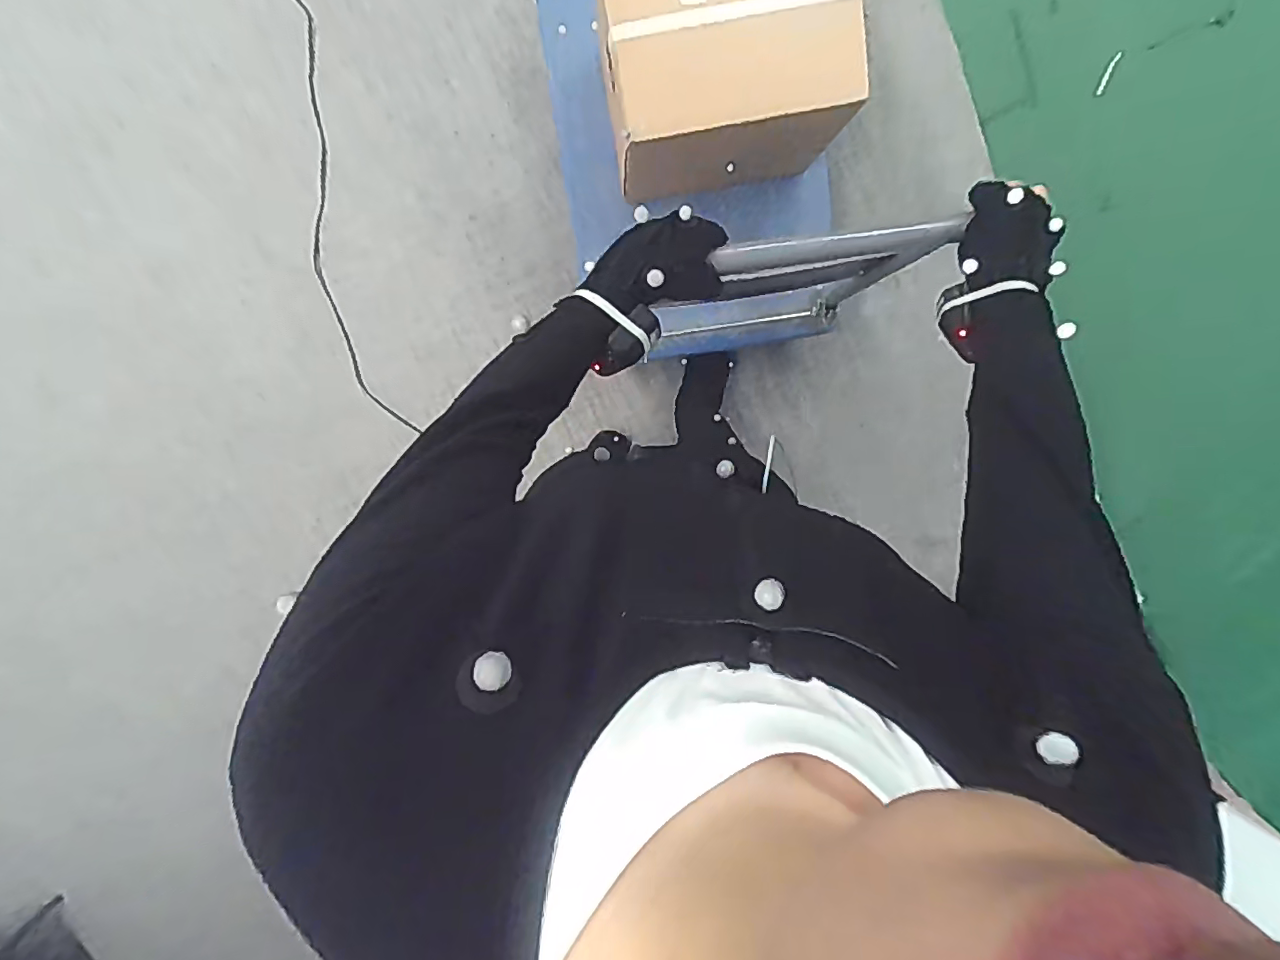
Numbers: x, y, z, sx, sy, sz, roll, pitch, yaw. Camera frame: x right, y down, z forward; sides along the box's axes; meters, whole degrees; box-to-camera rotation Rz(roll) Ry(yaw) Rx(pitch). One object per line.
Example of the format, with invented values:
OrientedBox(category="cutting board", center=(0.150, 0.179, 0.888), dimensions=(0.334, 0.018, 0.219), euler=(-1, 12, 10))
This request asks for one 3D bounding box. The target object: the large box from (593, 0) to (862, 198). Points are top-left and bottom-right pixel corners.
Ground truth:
OrientedBox(category="large box", center=(0.140, -0.768, 1.007), dimensions=(0.408, 0.320, 0.320), euler=(-11, 100, 0))
